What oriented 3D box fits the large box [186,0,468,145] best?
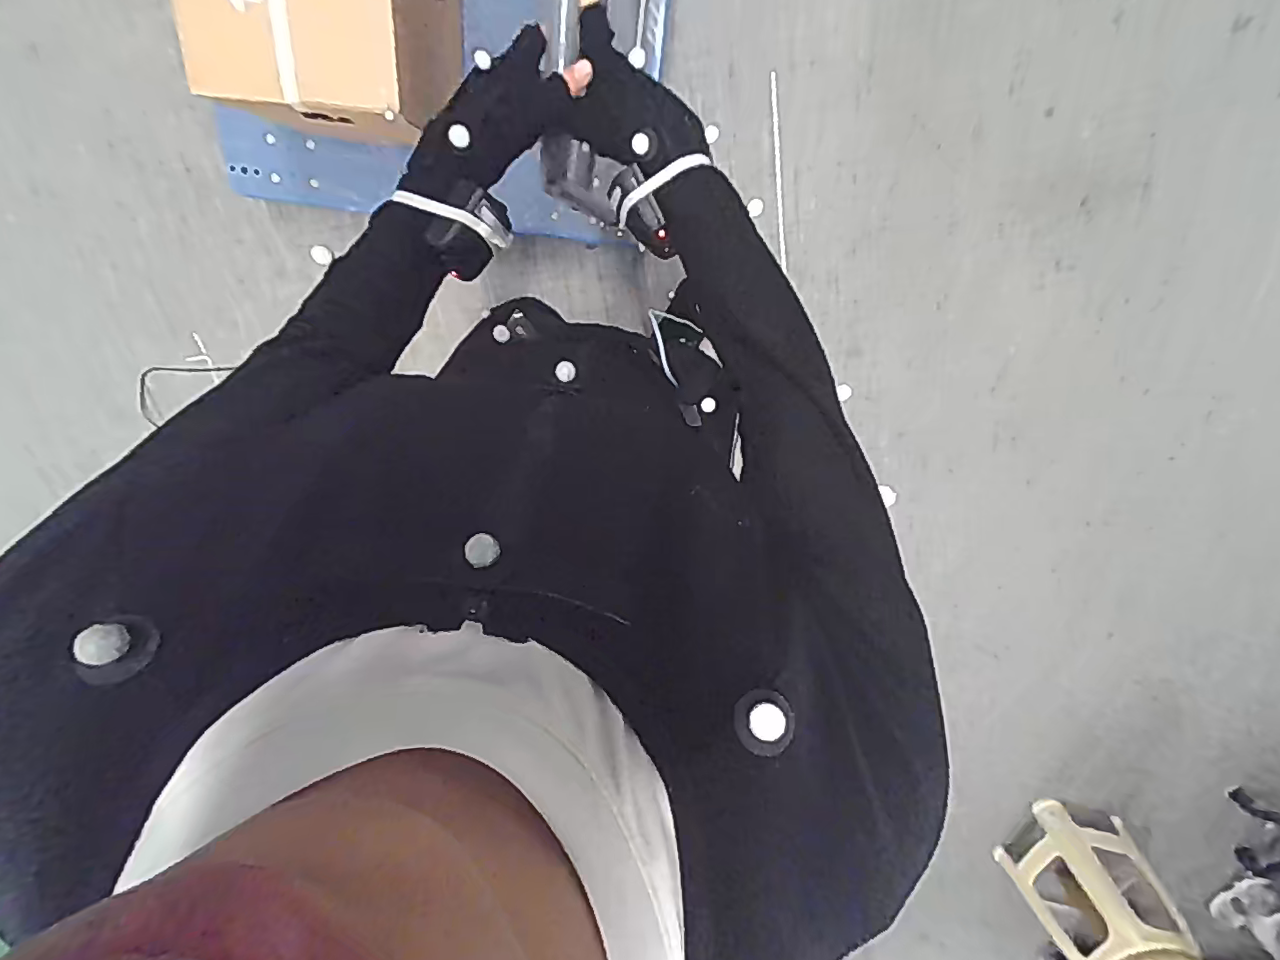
[{"bbox_3d":[-0.482,-0.809,0.869,0.320,0.320,0.408,6,113,0],"label":"large box"}]
